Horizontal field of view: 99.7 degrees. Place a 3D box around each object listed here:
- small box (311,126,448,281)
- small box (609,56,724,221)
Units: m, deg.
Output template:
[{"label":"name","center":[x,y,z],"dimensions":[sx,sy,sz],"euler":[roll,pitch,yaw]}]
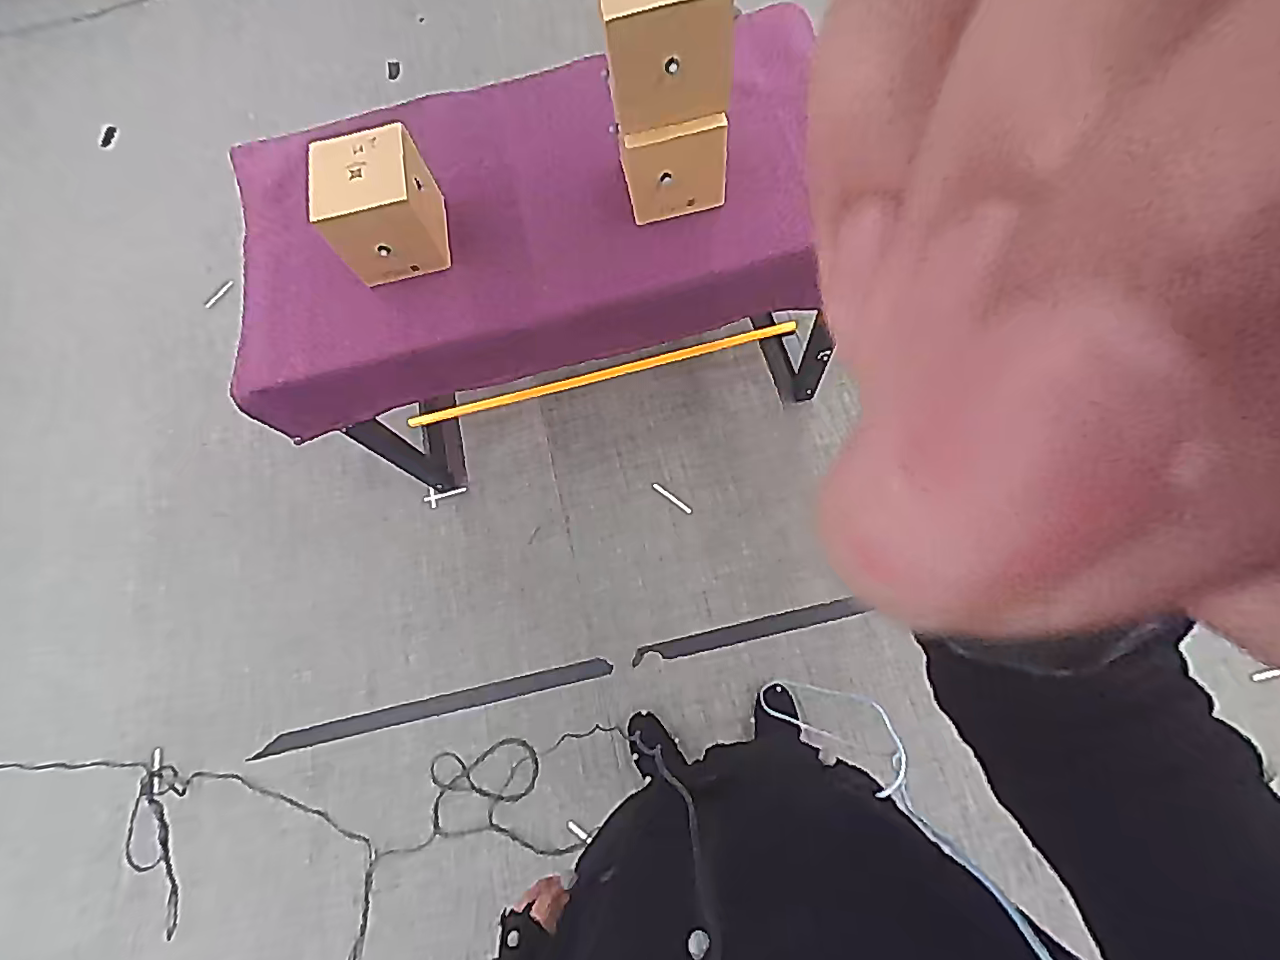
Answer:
[{"label":"small box","center":[-0.459,-0.482,0.972],"dimensions":[0.168,0.176,0.179],"euler":[-12,71,2]},{"label":"small box","center":[0.051,-0.587,0.954],"dimensions":[0.168,0.176,0.179],"euler":[-12,70,3]}]
